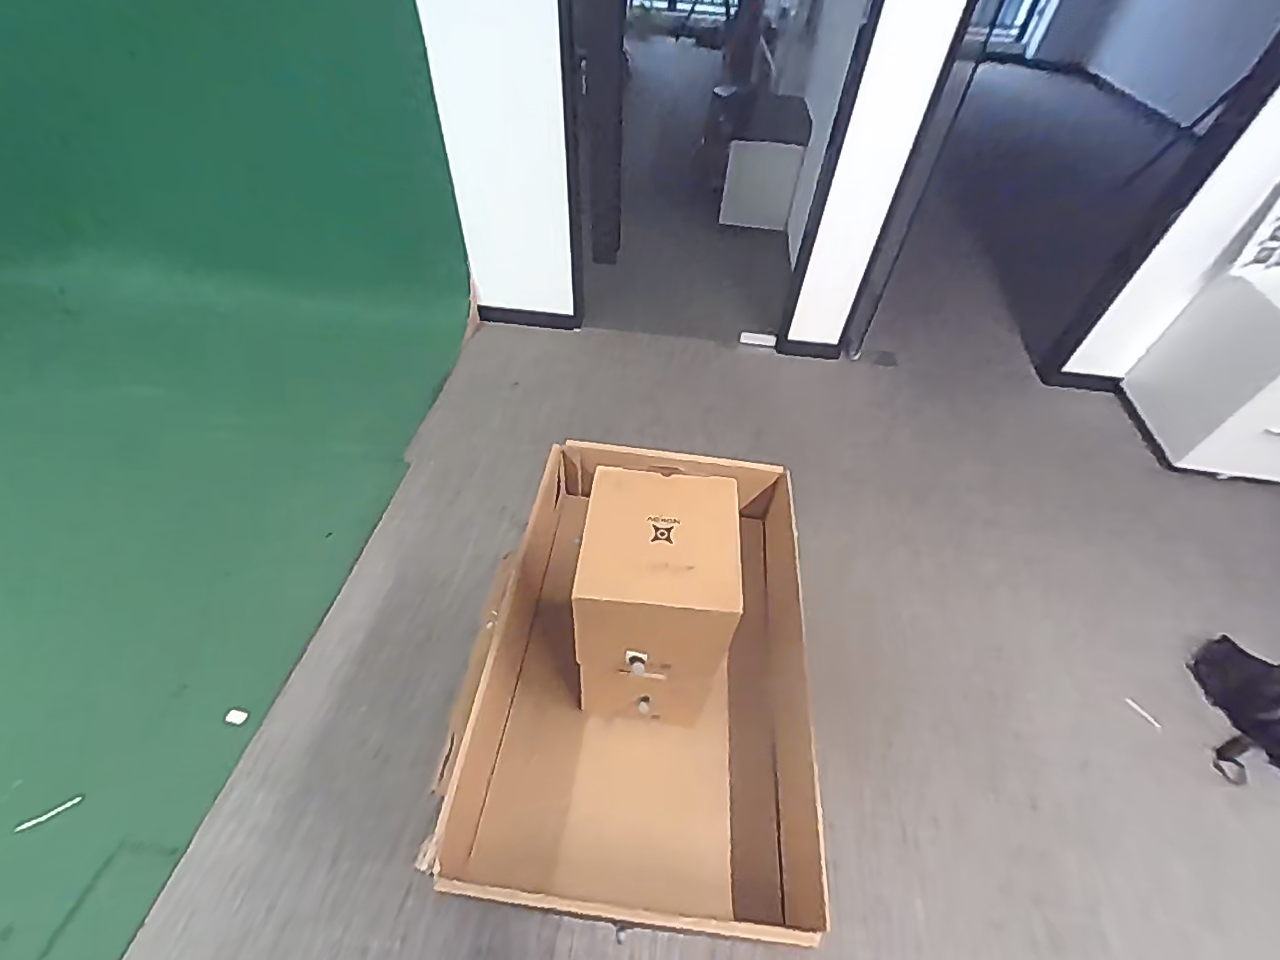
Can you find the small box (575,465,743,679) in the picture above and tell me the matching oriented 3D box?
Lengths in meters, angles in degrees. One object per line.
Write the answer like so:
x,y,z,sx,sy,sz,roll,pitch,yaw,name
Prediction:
0.020,0.107,0.628,0.168,0.176,0.179,5,49,1,small box
